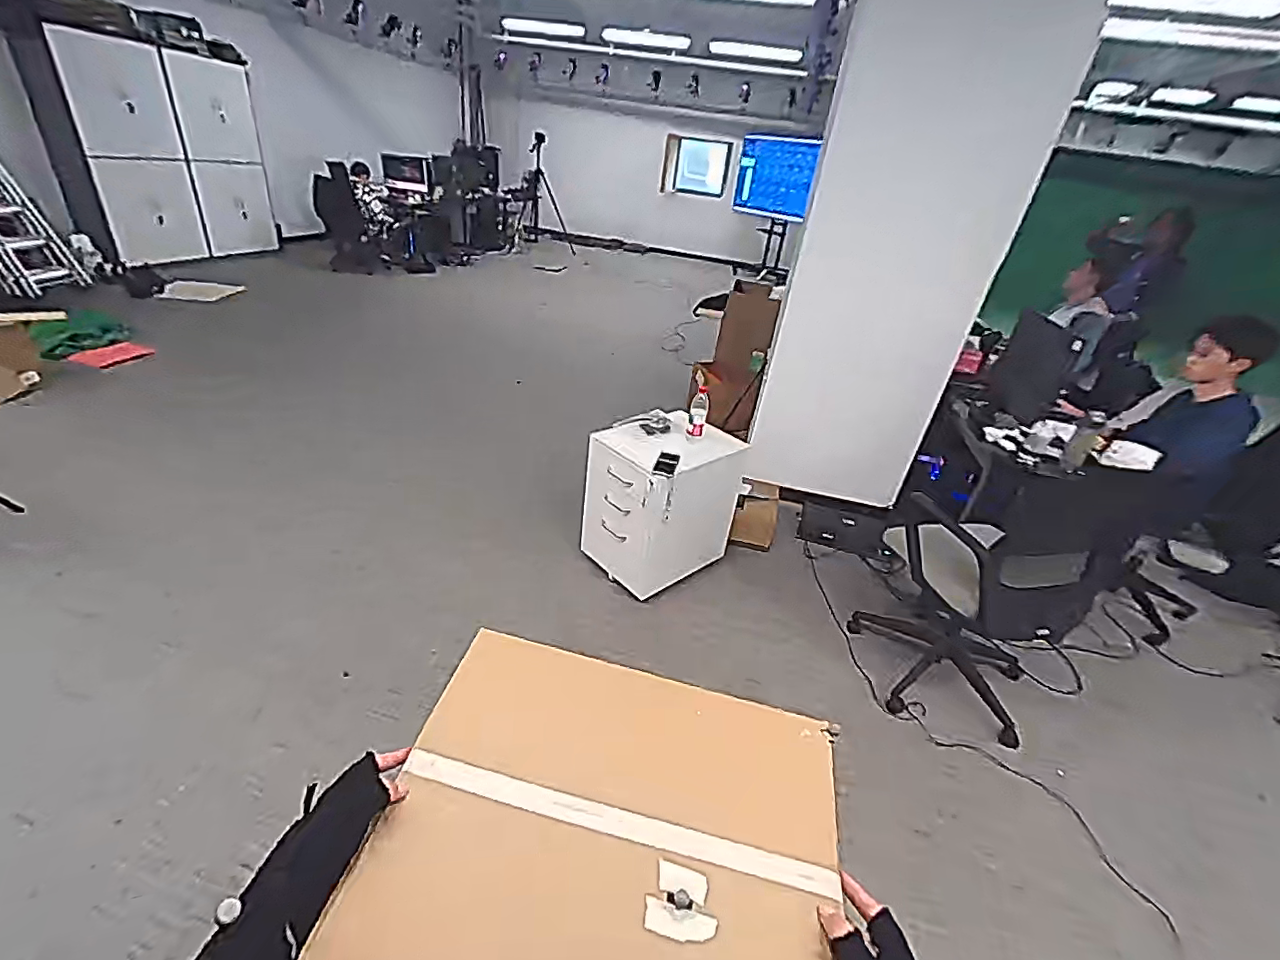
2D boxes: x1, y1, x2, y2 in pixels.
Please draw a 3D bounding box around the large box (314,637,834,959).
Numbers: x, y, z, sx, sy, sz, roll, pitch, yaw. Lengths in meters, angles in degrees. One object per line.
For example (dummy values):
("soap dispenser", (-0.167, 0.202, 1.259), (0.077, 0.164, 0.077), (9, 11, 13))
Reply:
("large box", (-0.045, 0.430, 0.588), (0.408, 0.320, 0.320), (14, 39, 4))
